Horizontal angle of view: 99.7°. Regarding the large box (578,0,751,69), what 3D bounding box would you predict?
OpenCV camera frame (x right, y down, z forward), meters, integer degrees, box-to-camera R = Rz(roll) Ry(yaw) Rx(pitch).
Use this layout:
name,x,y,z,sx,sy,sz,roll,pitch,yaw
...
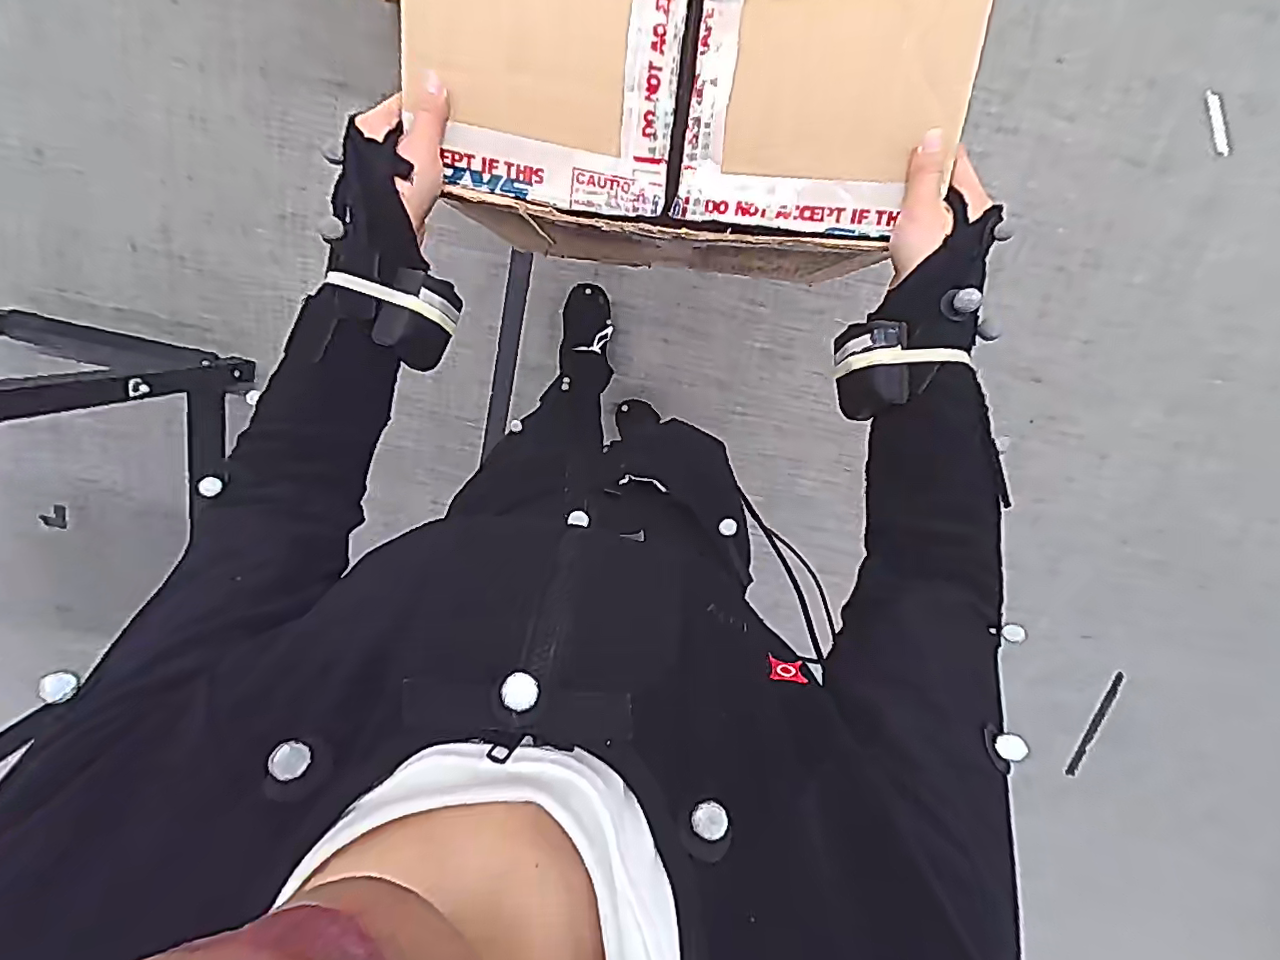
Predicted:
name,x,y,z,sx,sy,sz,roll,pitch,yaw
large box,0.068,-1.030,0.929,0.320,0.320,0.408,11,107,-2
